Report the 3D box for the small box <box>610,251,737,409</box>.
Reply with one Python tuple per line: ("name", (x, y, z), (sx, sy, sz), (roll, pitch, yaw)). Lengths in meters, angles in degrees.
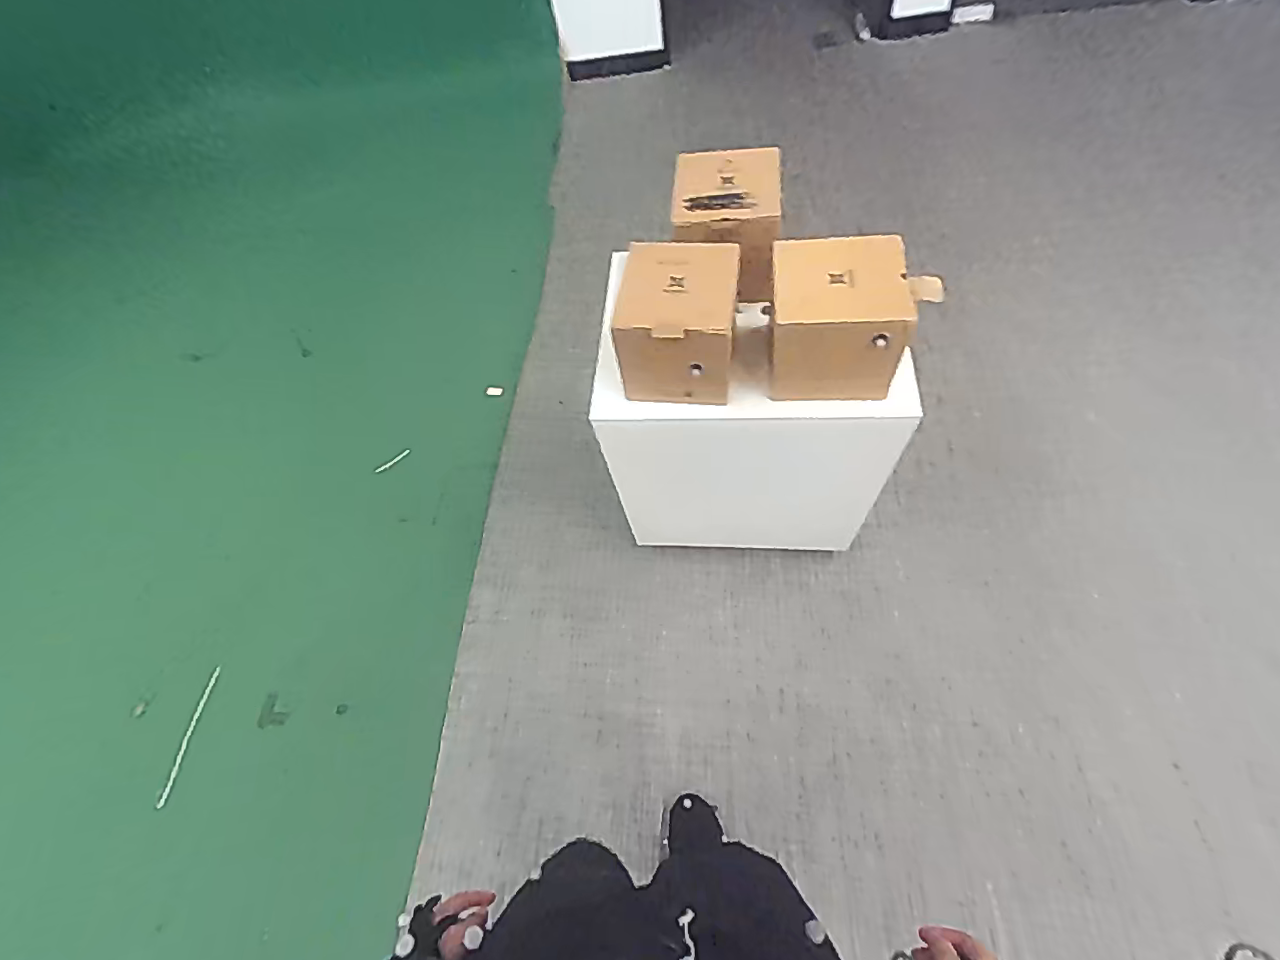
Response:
("small box", (0.059, -0.227, 0.837), (0.168, 0.176, 0.179), (5, 60, 9))
